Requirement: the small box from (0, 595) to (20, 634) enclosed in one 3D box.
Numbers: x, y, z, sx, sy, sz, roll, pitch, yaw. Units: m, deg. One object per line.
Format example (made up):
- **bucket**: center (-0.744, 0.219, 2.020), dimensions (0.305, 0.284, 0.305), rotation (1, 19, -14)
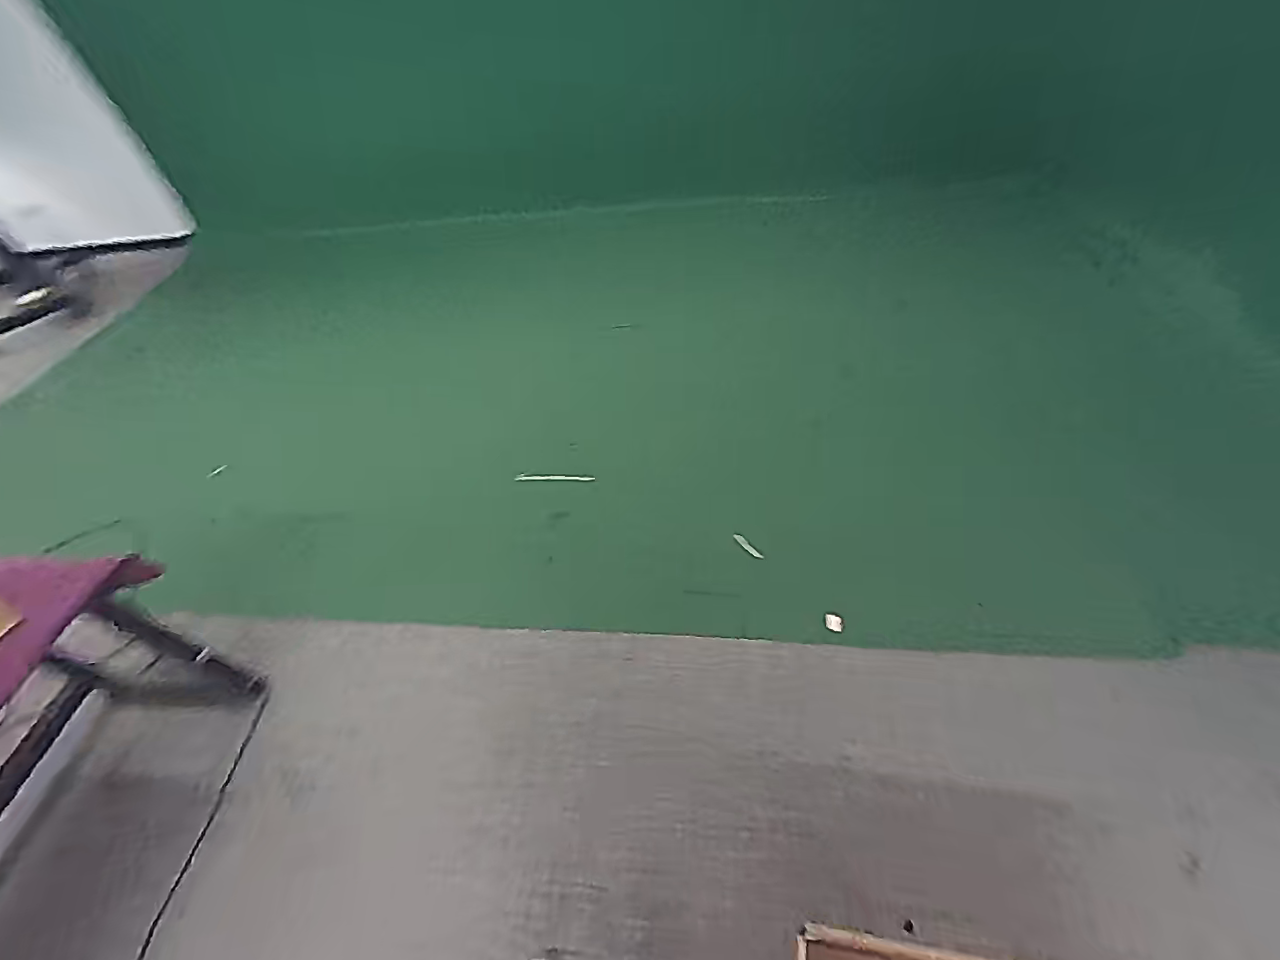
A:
- **small box**: center (-1.380, 0.263, 1.037), dimensions (0.179, 0.176, 0.168), rotation (14, 55, 22)
